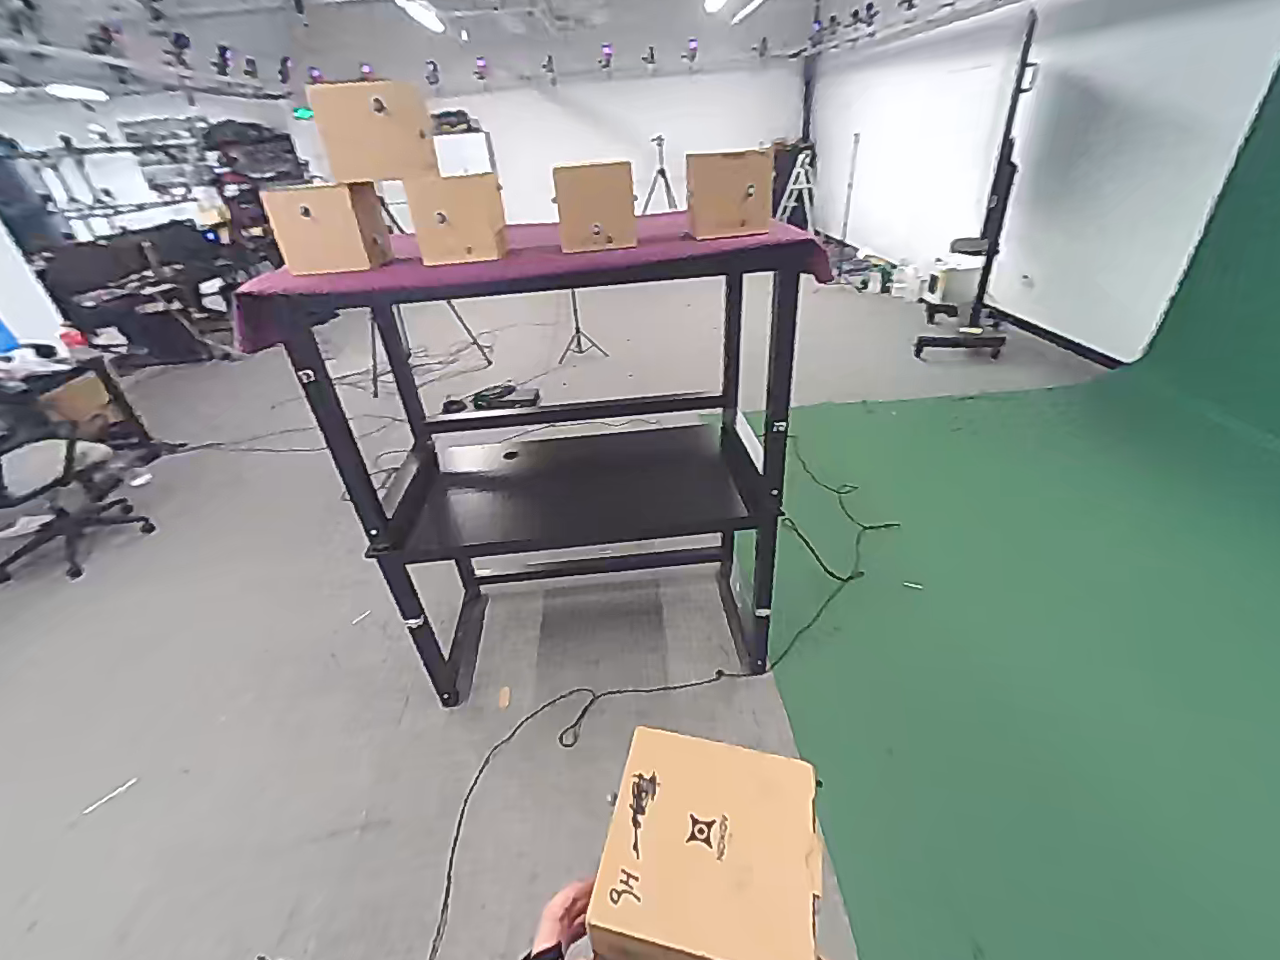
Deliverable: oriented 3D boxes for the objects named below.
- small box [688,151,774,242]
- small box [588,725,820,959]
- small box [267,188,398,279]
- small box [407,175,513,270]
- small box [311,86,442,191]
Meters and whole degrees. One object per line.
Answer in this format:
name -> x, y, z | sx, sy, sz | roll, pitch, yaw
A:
small box -> 0.204, -0.645, 1.235 | 0.168, 0.176, 0.179 | -5, 30, 0
small box -> 0.063, 0.369, 0.509 | 0.179, 0.176, 0.168 | 8, 36, 12
small box -> -0.671, -0.550, 1.204 | 0.179, 0.176, 0.168 | -5, 31, -1
small box -> -0.389, -0.572, 1.205 | 0.168, 0.176, 0.179 | -6, 30, 0
small box -> -0.532, -0.706, 1.126 | 0.179, 0.176, 0.168 | -4, 30, 0
